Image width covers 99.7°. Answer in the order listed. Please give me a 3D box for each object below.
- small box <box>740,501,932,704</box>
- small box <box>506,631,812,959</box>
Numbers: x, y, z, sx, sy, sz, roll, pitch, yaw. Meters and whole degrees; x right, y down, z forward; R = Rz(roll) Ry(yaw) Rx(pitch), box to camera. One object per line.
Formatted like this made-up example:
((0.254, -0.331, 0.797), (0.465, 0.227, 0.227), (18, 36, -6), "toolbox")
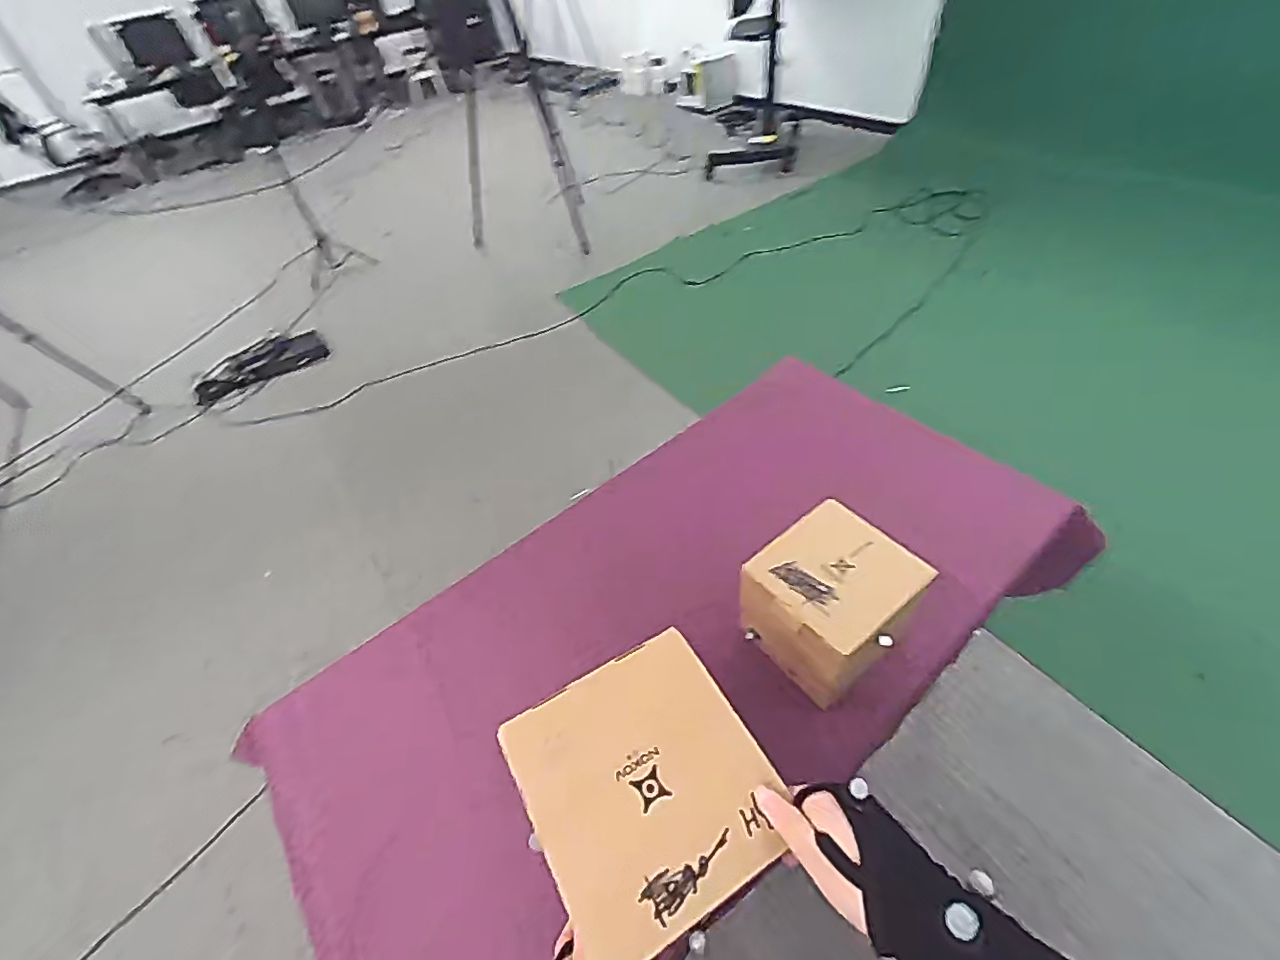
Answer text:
((0.257, 0.170, 0.741), (0.179, 0.176, 0.168), (-33, 51, -20), "small box")
((0.008, 0.266, 0.451), (0.168, 0.176, 0.179), (-25, 54, -17), "small box")
